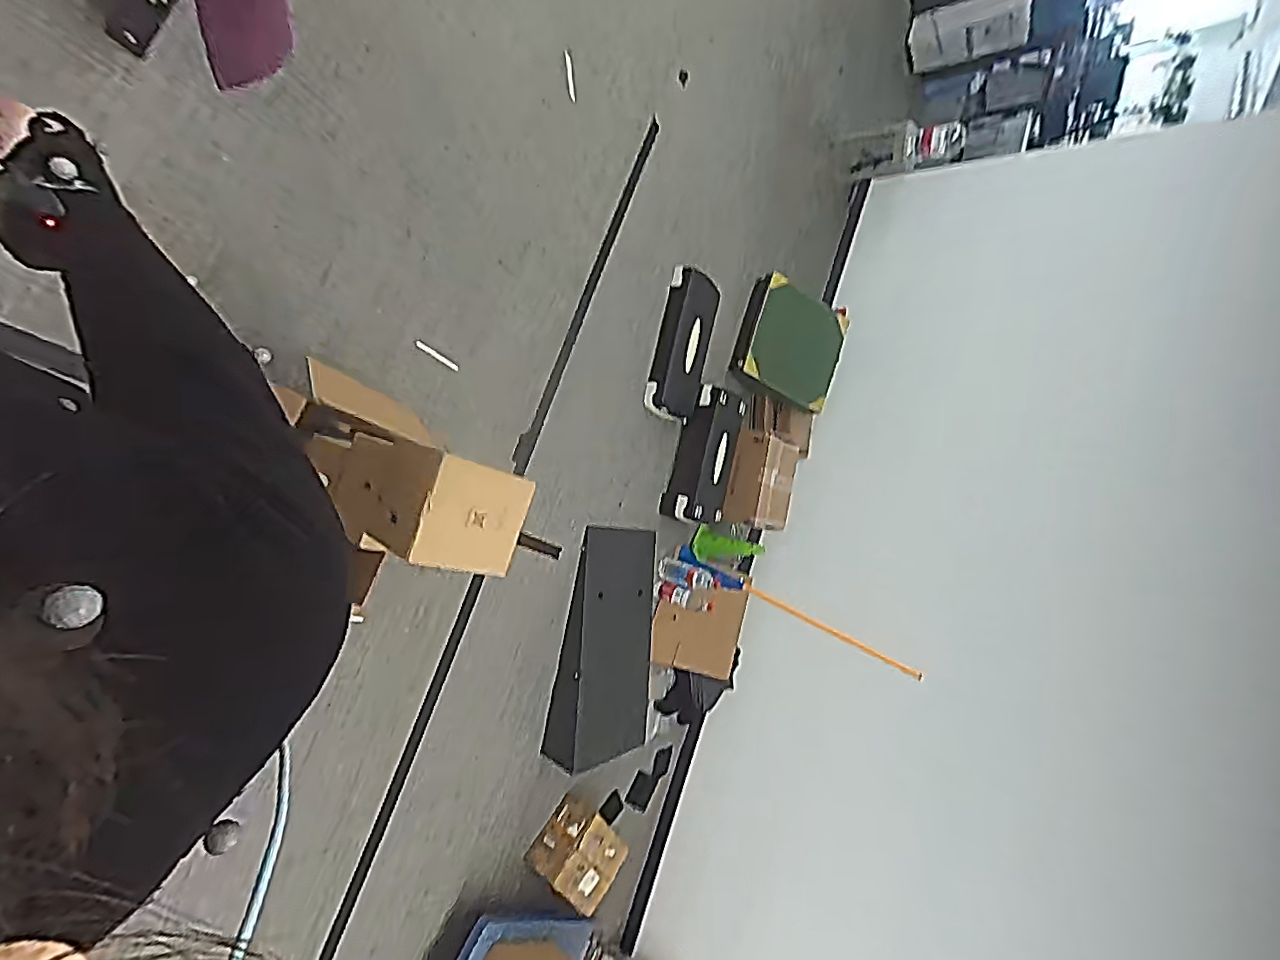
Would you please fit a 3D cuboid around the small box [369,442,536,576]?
[{"bbox_3d":[-0.308,0.044,0.882,0.179,0.176,0.168,23,85,-48],"label":"small box"}]

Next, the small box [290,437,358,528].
[{"bbox_3d":[-0.669,0.001,1.217,0.168,0.176,0.179,0,102,-48],"label":"small box"}]

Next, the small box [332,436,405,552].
[{"bbox_3d":[-0.432,0.029,0.988,0.168,0.176,0.179,21,86,-48],"label":"small box"}]
